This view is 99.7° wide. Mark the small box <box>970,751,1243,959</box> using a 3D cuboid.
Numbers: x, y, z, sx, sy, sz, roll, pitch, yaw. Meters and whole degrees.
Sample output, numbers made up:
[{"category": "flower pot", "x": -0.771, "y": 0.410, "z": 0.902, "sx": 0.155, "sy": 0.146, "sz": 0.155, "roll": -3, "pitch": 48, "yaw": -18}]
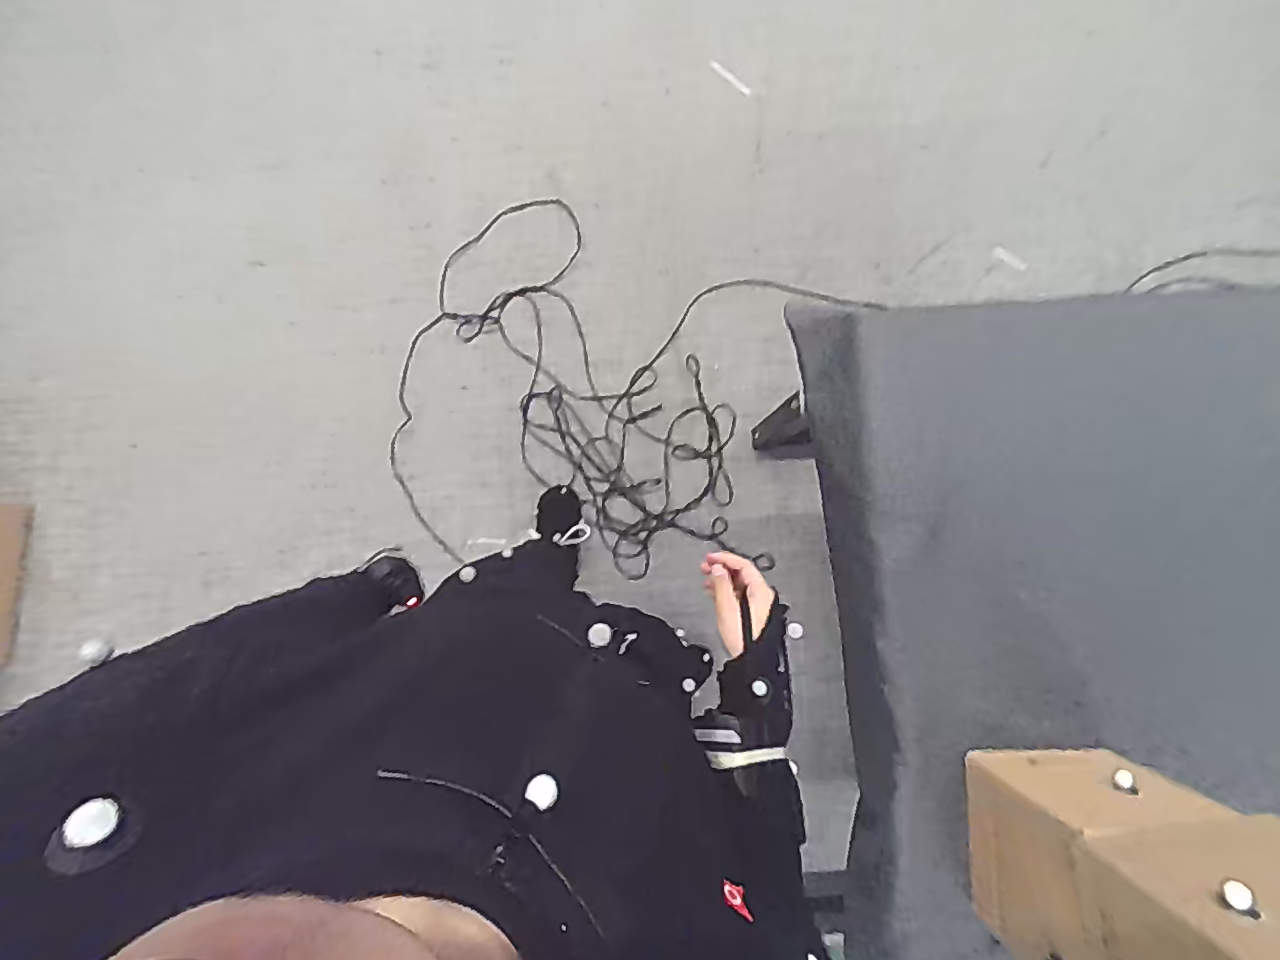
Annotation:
[{"category": "small box", "x": 0.458, "y": 0.388, "z": 0.538, "sx": 0.168, "sy": 0.176, "sz": 0.179, "roll": -1, "pitch": 86, "yaw": -1}]

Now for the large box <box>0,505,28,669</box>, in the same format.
[{"category": "large box", "x": -1.700, "y": 0.249, "z": 1.205, "sx": 0.320, "sy": 0.320, "sz": 0.408, "roll": 2, "pitch": 84, "yaw": -1}]

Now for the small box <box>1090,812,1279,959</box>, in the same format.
[{"category": "small box", "x": 0.462, "y": 0.367, "z": 0.377, "sx": 0.179, "sy": 0.176, "sz": 0.168, "roll": -7, "pitch": 88, "yaw": -2}]
